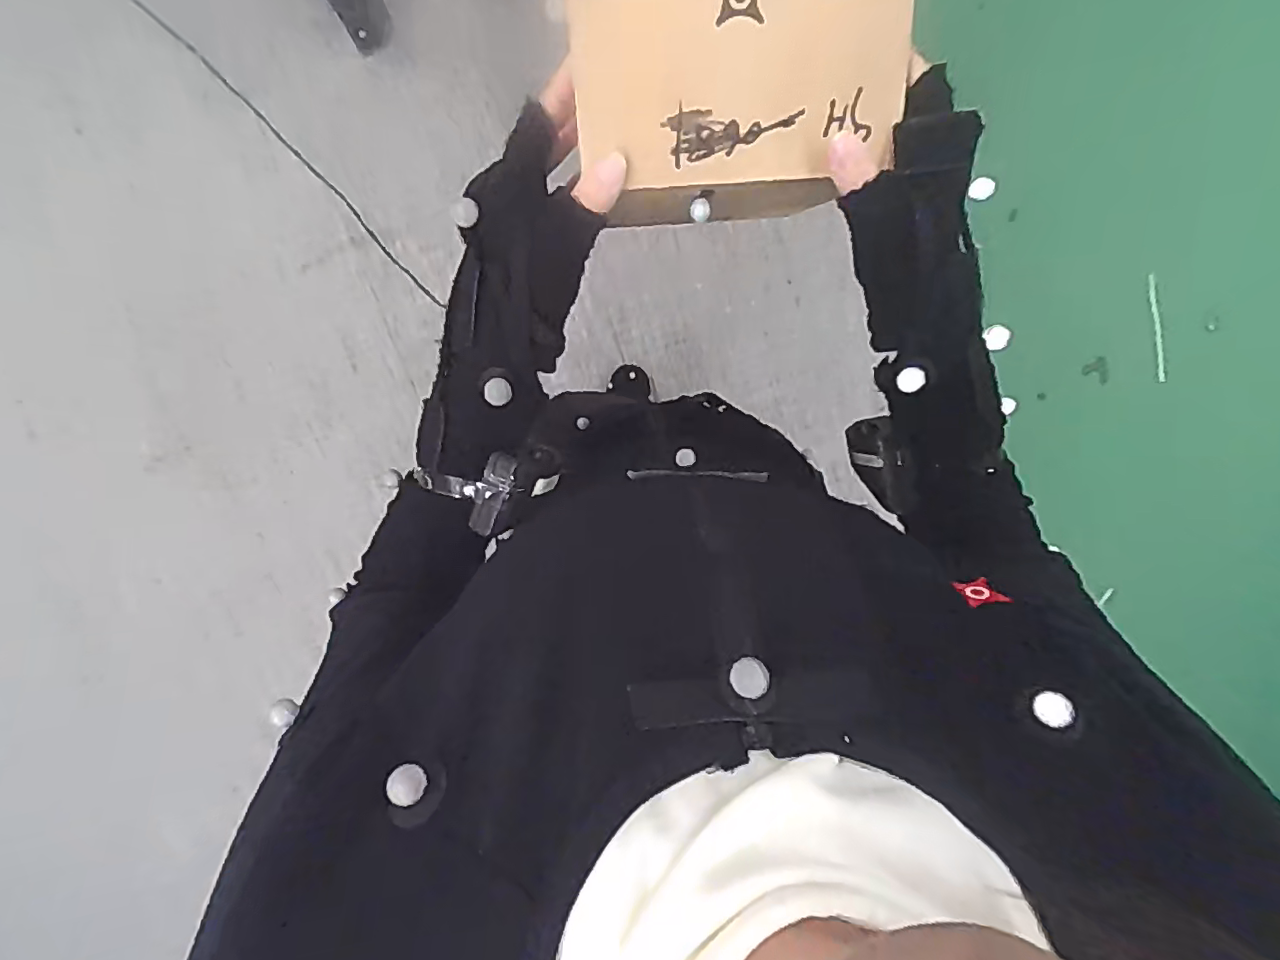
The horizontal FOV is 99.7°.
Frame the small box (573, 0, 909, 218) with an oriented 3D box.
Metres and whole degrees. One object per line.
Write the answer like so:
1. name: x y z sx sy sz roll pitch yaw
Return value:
1. small box: 0.044 -0.270 0.331 0.168 0.176 0.179 -4 110 -2
